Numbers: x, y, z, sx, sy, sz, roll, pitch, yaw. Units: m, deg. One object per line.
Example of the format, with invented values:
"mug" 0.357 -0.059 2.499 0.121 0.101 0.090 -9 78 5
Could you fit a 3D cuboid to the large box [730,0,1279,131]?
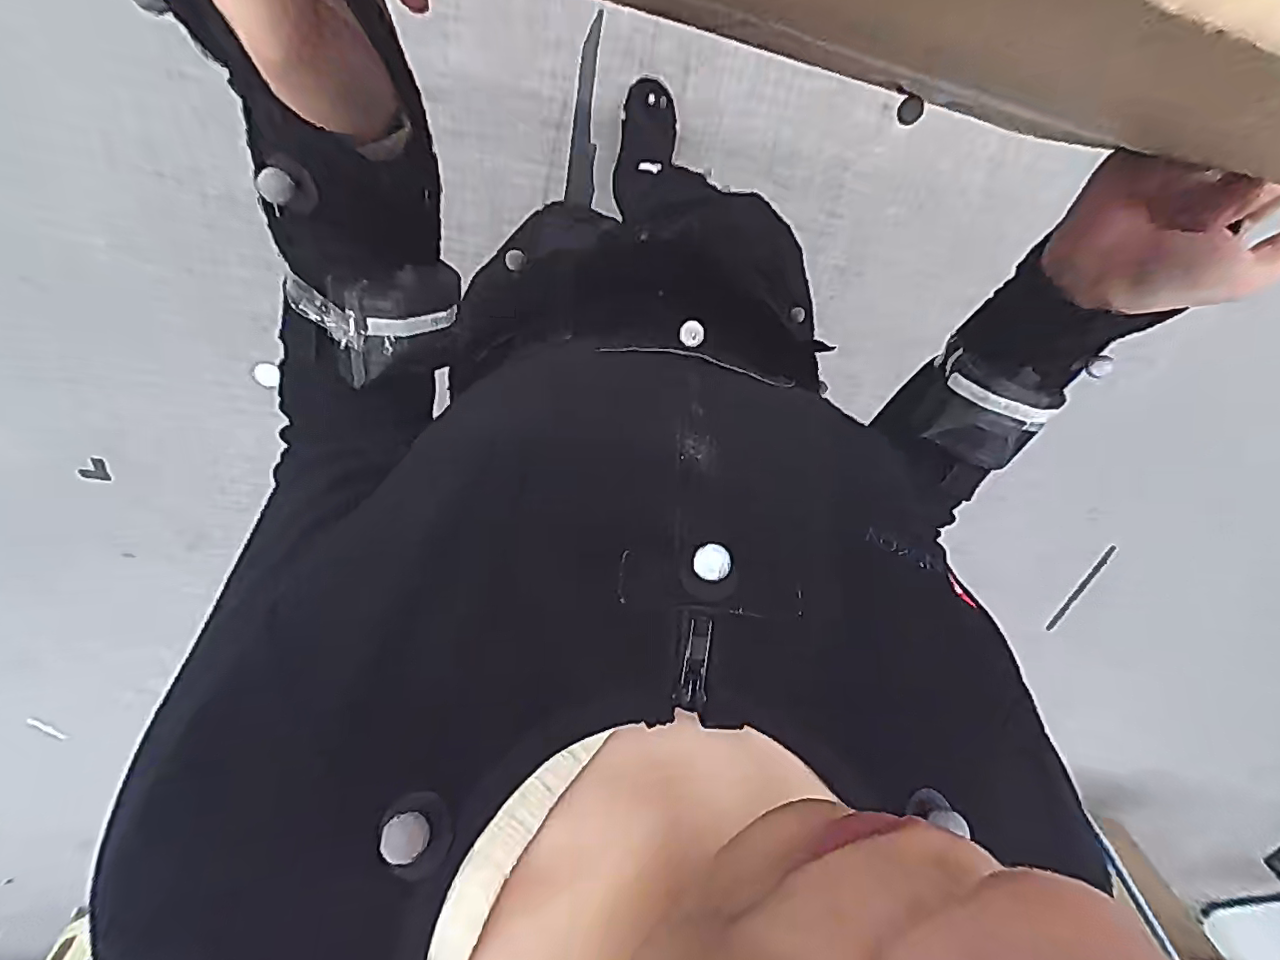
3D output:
"large box" 0.113 -0.305 0.112 0.408 0.320 0.320 5 128 -13
